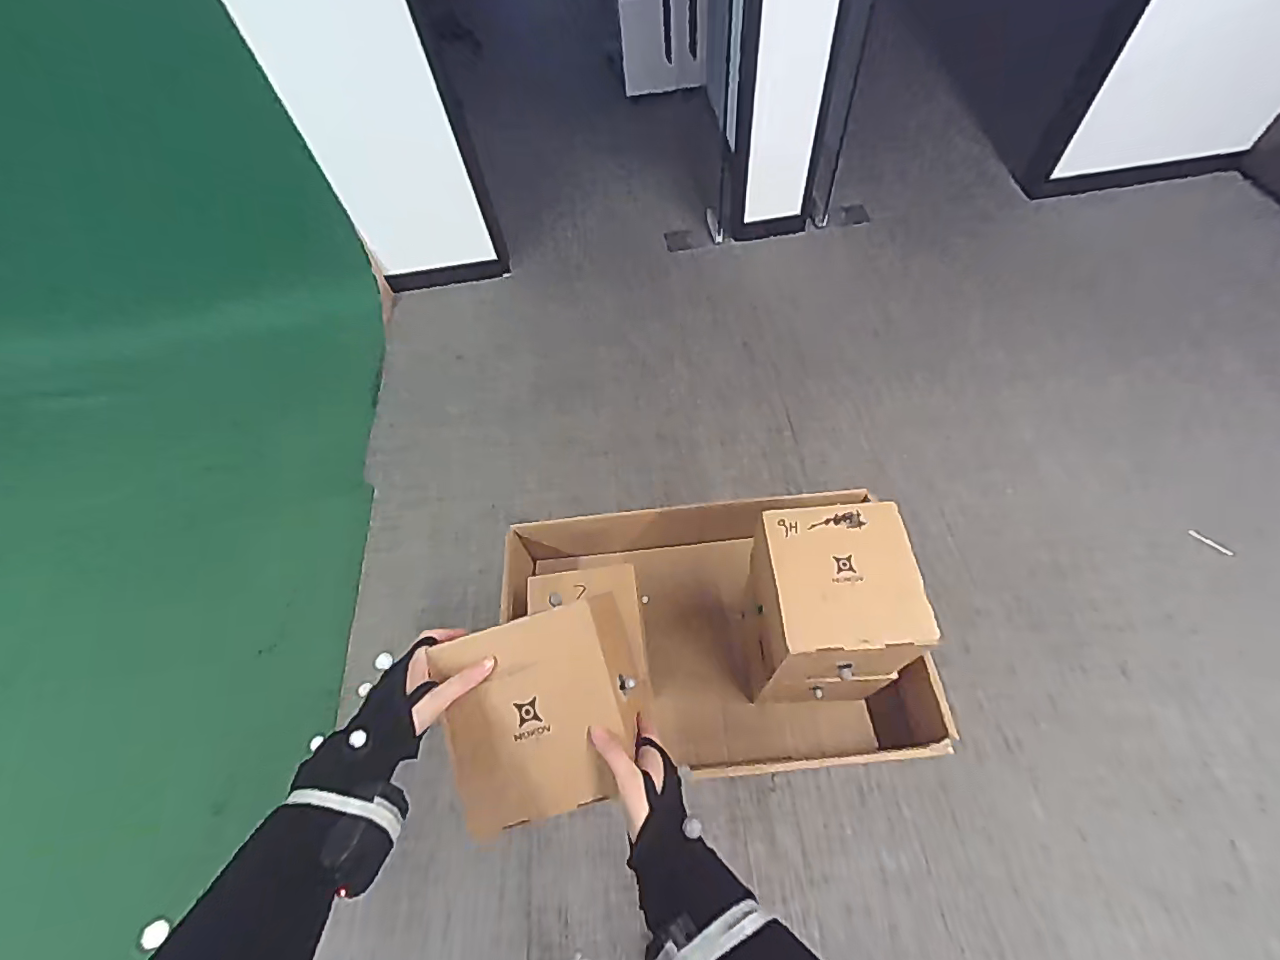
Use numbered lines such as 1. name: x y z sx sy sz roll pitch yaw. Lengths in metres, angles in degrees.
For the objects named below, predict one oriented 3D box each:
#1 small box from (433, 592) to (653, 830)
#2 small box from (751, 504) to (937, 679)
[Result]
1. small box: -0.091 0.228 0.579 0.168 0.176 0.179 -18 78 4
2. small box: 0.241 0.150 0.689 0.168 0.176 0.179 -4 59 3
